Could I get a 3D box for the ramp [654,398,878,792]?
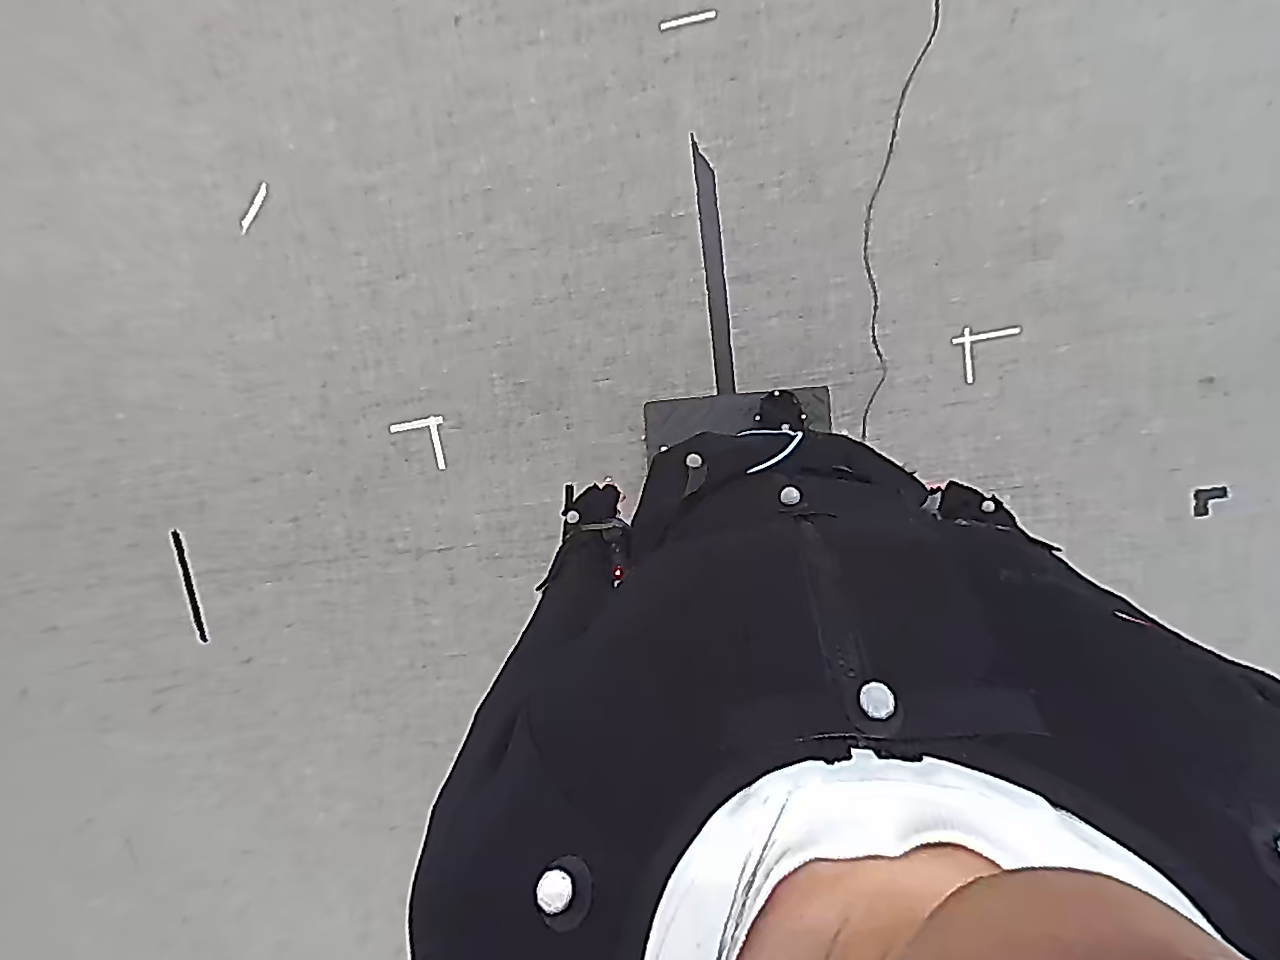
[{"bbox_3d":[0.312,0.300,1.429,0.509,0.206,0.991,-7,95,11],"label":"ramp"}]
